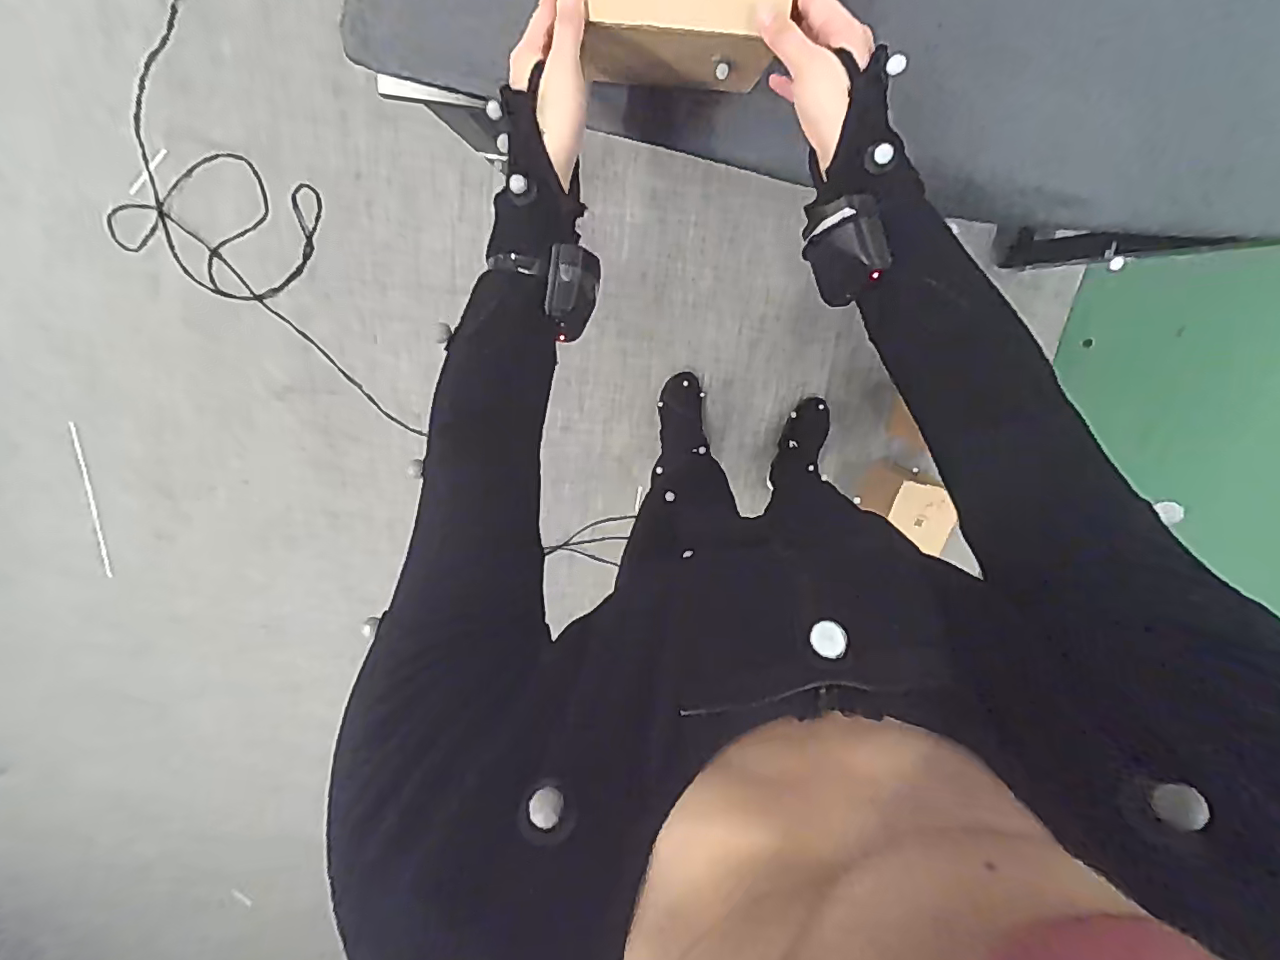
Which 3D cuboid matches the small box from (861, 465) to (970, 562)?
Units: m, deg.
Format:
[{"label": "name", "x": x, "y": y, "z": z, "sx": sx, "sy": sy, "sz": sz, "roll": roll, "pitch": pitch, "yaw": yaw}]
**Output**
[{"label": "small box", "x": 0.693, "y": 0.081, "z": 1.387, "sx": 0.168, "sy": 0.176, "sz": 0.179, "roll": 15, "pitch": 108, "yaw": -3}]
